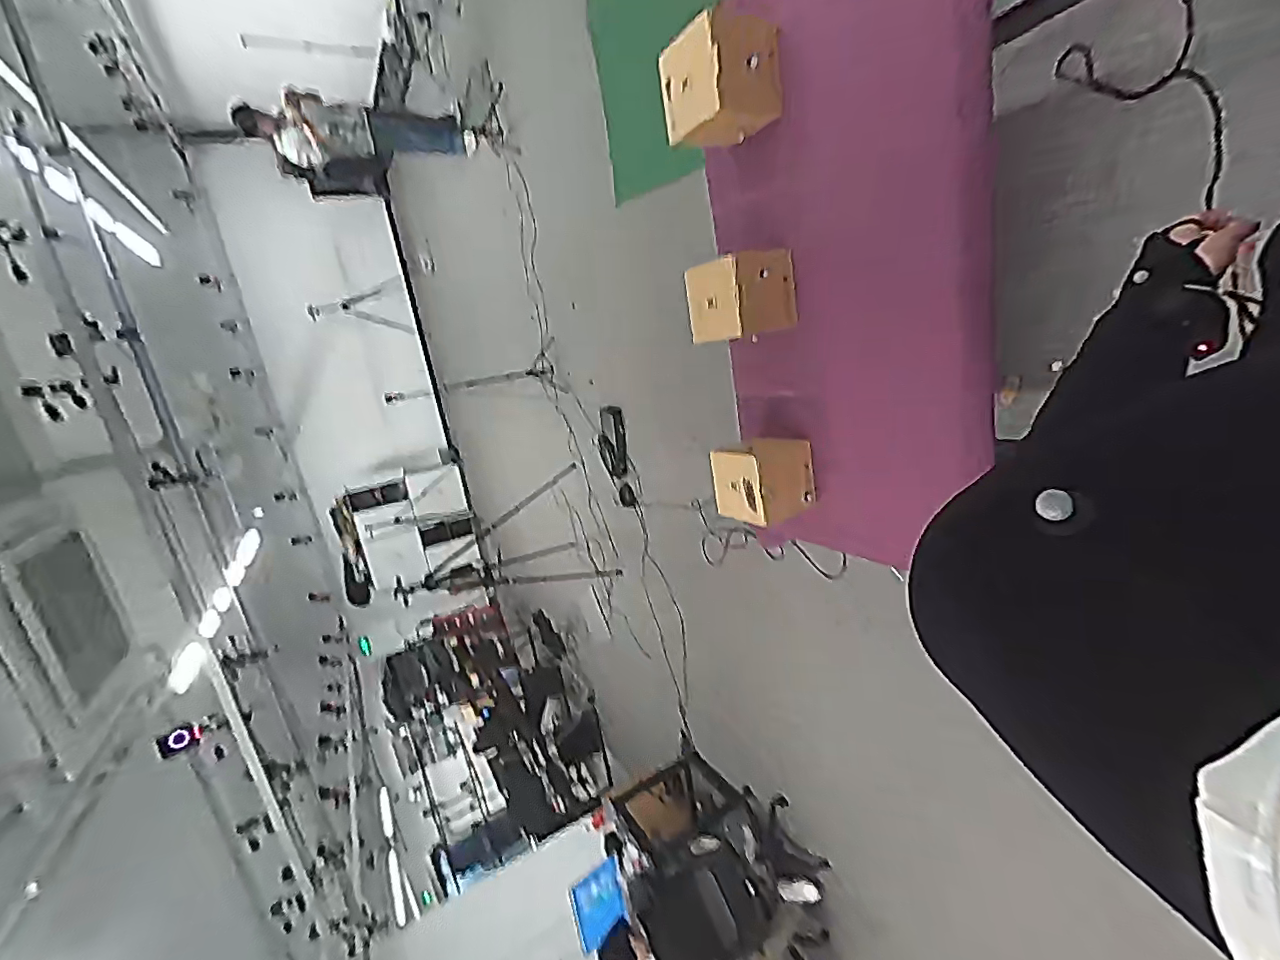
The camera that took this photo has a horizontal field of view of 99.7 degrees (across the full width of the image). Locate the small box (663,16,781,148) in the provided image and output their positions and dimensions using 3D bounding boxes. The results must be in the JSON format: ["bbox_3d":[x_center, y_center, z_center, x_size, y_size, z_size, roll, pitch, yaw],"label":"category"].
[{"bbox_3d":[0.174,-0.808,1.114,0.179,0.176,0.168,16,119,59],"label":"small box"}]

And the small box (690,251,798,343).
[{"bbox_3d":[0.240,-0.413,1.226,0.179,0.176,0.168,14,117,60],"label":"small box"}]

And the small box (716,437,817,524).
[{"bbox_3d":[0.314,-0.006,1.319,0.179,0.176,0.168,12,116,61],"label":"small box"}]
